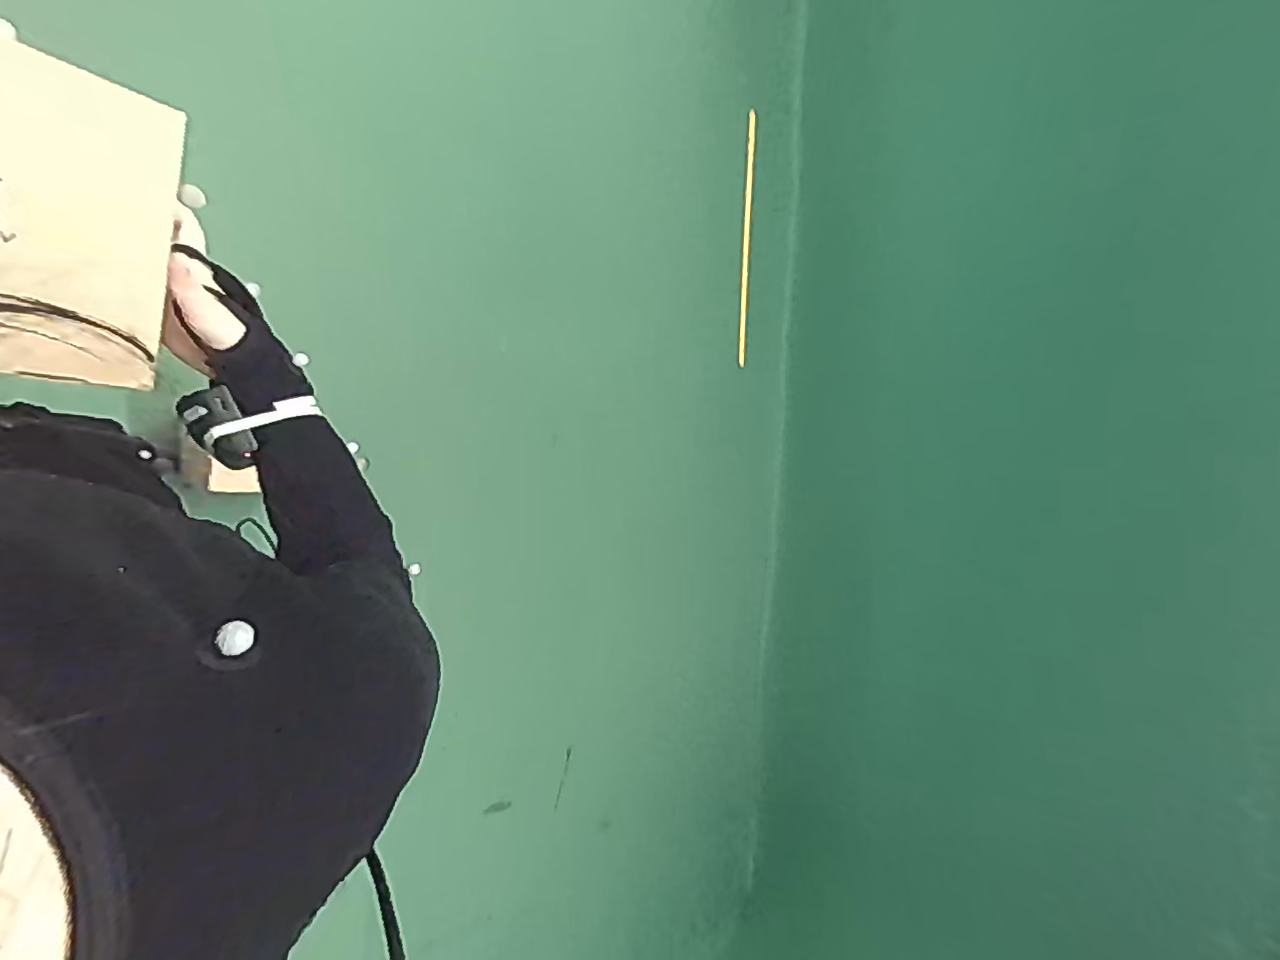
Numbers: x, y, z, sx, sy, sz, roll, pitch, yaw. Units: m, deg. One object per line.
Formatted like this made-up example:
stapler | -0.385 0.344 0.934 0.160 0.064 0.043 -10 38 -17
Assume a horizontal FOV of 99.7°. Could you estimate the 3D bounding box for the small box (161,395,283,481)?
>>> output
small box | -0.906 -0.091 1.173 0.179 0.176 0.168 4 92 -48
